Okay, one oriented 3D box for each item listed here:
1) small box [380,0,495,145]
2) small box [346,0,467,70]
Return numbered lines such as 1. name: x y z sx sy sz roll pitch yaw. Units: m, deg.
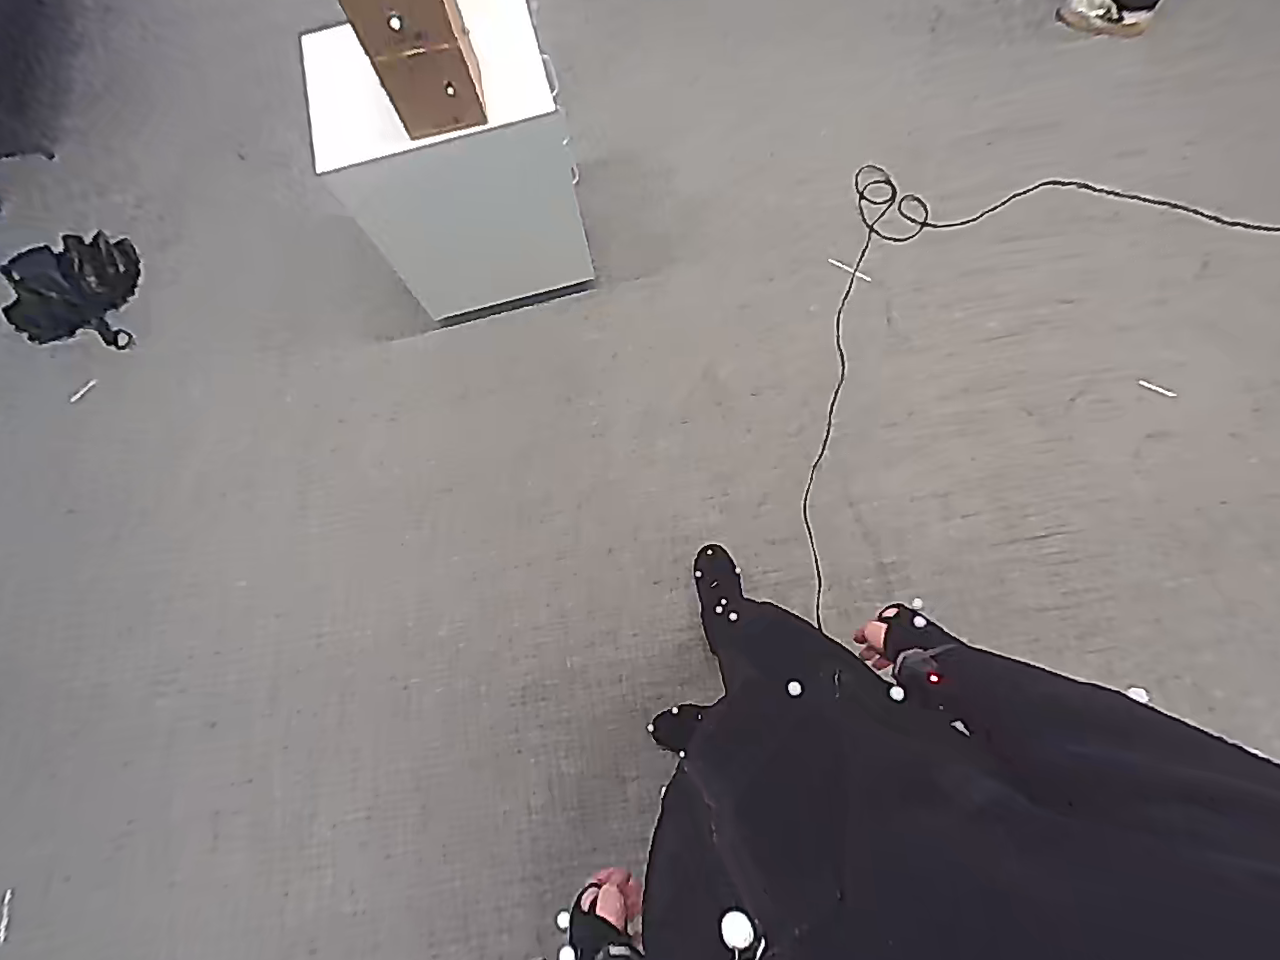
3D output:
1. small box: -0.398 -0.800 1.073 0.168 0.176 0.179 -12 72 0
2. small box: -0.407 -0.849 0.916 0.168 0.176 0.179 -11 74 0
